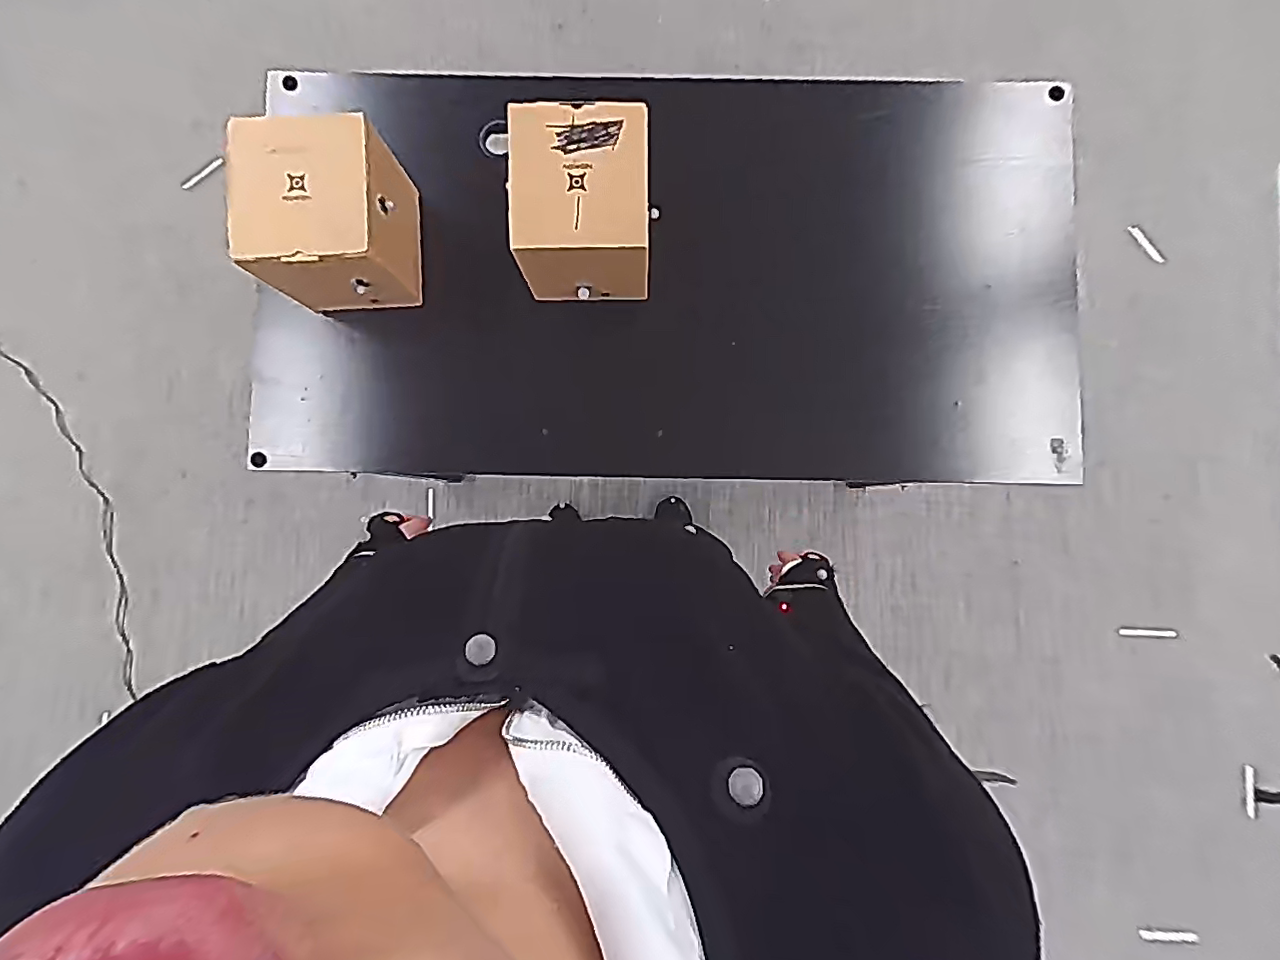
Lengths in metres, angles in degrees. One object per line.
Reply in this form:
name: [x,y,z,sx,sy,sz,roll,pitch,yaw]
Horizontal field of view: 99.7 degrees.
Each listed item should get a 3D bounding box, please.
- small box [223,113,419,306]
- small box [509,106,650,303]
small box: [-0.404,-0.338,0.711,0.168,0.176,0.179,-3,86,-2]
small box: [-0.071,-0.350,0.712,0.168,0.176,0.179,0,88,0]
